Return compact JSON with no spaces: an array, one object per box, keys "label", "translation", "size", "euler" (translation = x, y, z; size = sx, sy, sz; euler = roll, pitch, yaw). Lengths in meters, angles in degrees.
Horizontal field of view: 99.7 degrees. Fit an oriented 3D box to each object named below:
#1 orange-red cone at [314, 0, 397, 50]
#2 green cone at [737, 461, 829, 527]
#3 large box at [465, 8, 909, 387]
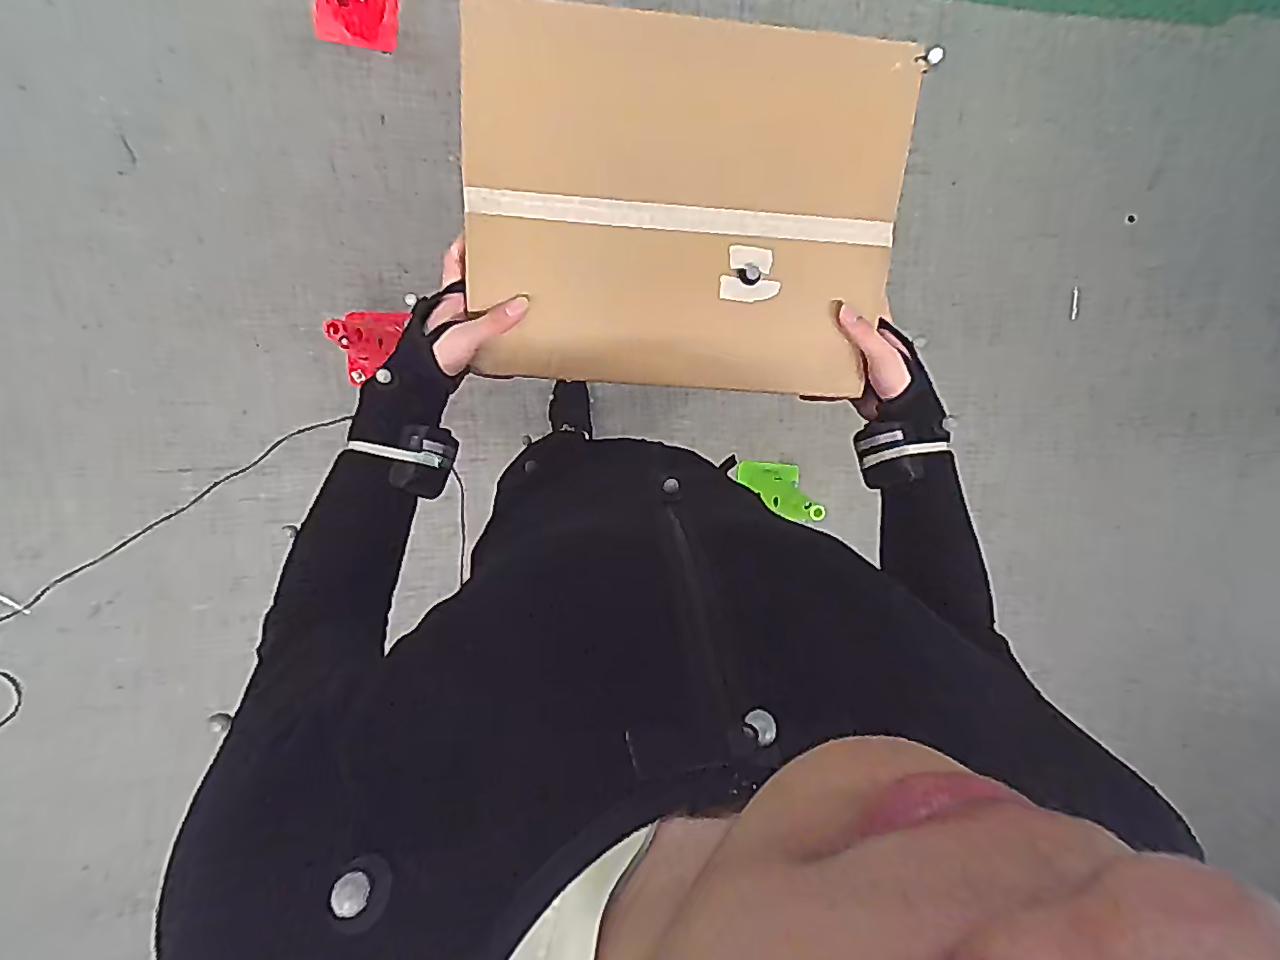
[{"label":"orange-red cone","translation":[-0.704,-1.200,1.214],"size":[0.199,0.360,0.198],"euler":[5,95,-8]},{"label":"green cone","translation":[0.431,0.059,1.524],"size":[0.200,0.368,0.202],"euler":[3,94,-9]},{"label":"large box","translation":[0.029,-0.292,0.658],"size":[0.408,0.320,0.320],"euler":[2,107,-5]}]
